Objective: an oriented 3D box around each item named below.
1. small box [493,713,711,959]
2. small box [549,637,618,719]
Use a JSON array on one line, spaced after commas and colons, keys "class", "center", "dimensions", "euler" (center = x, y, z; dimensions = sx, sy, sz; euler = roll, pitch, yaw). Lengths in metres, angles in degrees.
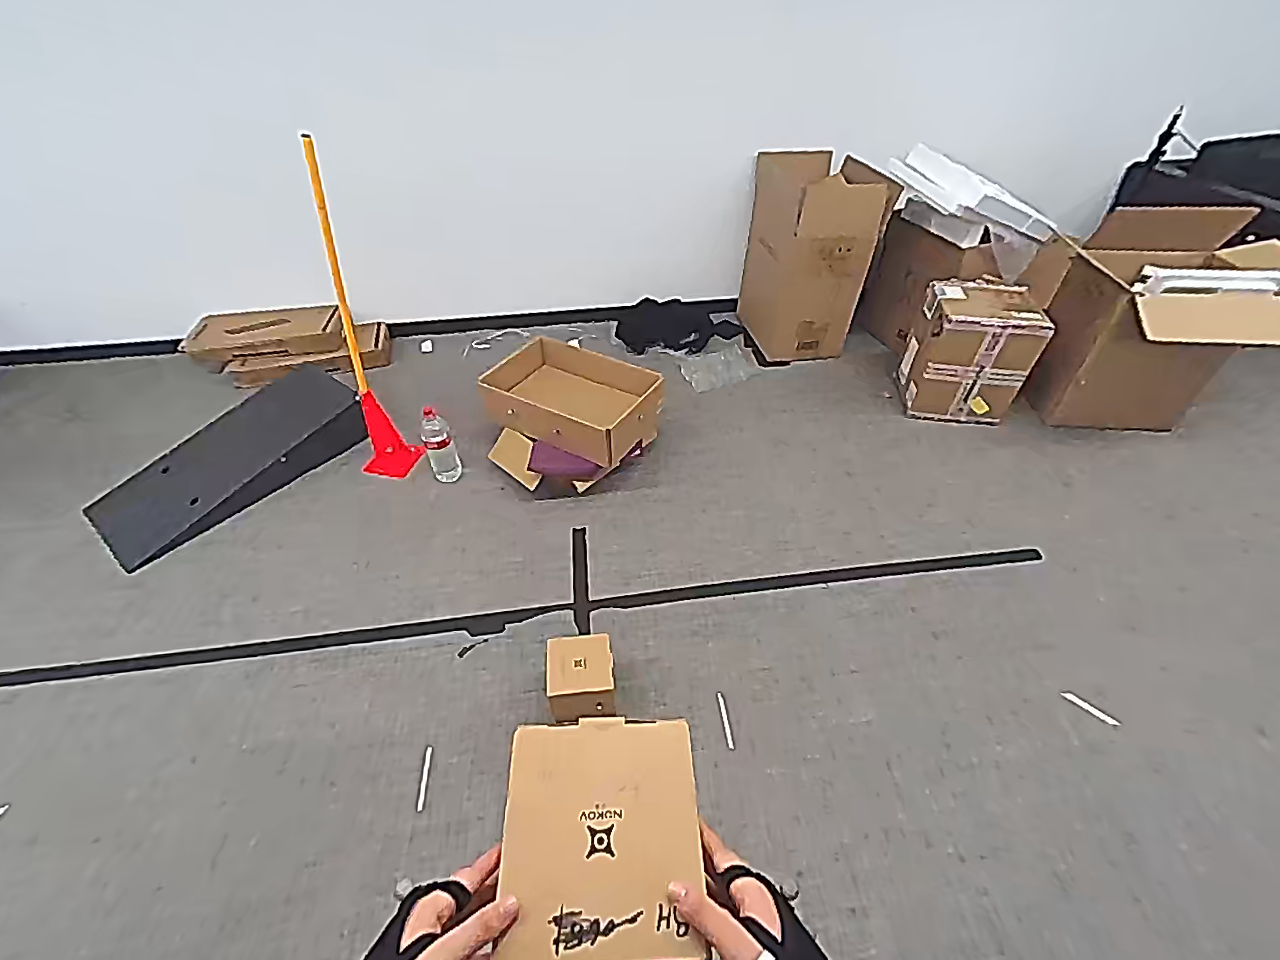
[{"class": "small box", "center": [-0.032, 0.344, 0.514], "dimensions": [0.168, 0.176, 0.179], "euler": [-3, 46, -2]}, {"class": "small box", "center": [-0.154, 0.558, 1.493], "dimensions": [0.179, 0.176, 0.168], "euler": [-7, 43, -4]}]
